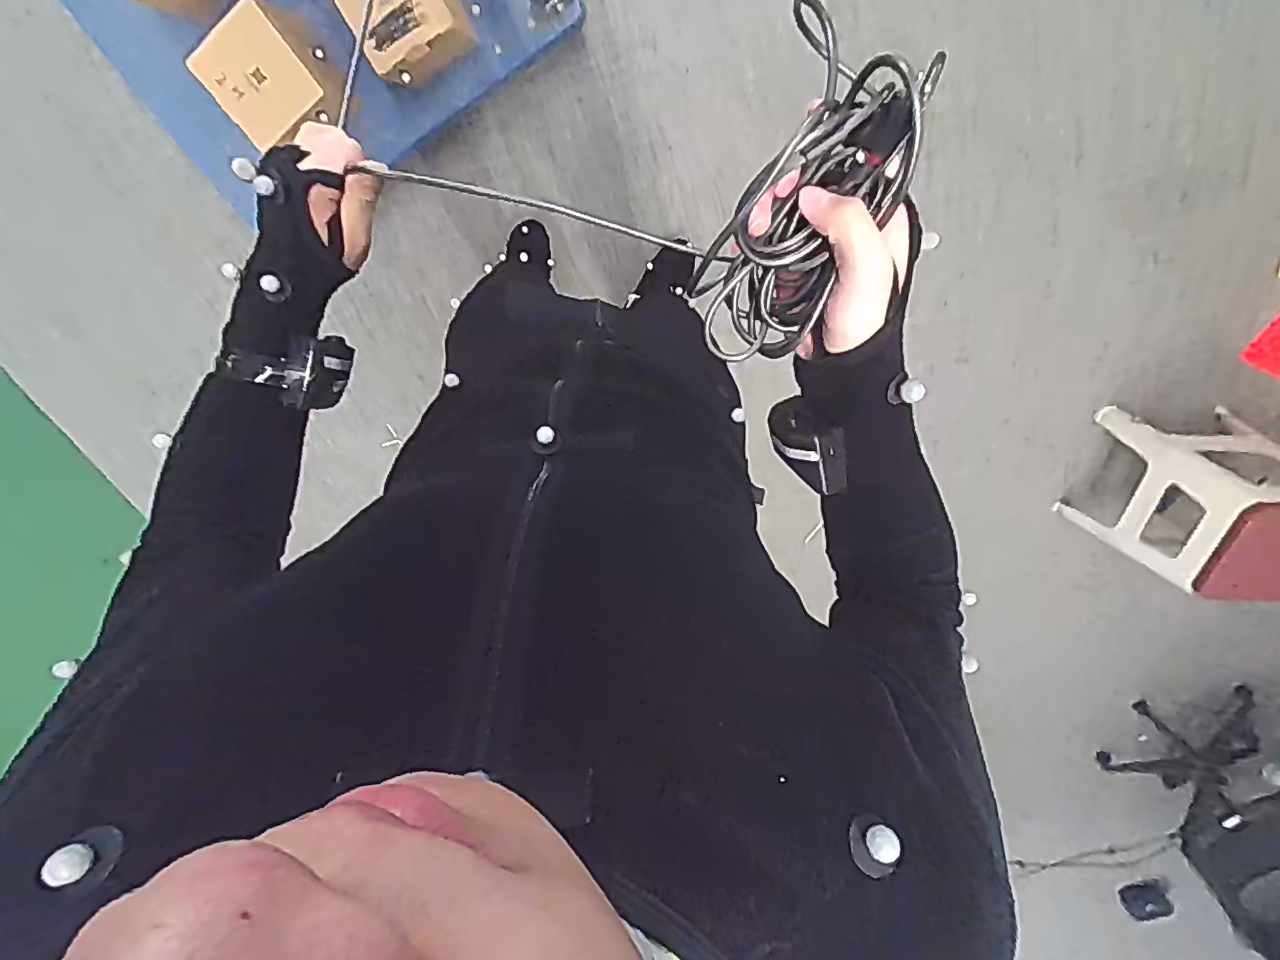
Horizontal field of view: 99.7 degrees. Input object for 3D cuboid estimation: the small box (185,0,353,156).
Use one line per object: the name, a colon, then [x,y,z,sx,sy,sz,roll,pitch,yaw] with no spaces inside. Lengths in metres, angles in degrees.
small box: [-0.678,-0.744,1.019,0.179,0.176,0.168,-29,116,16]

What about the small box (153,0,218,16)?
small box: [-0.812,-0.934,0.908,0.179,0.176,0.168,-27,117,15]
